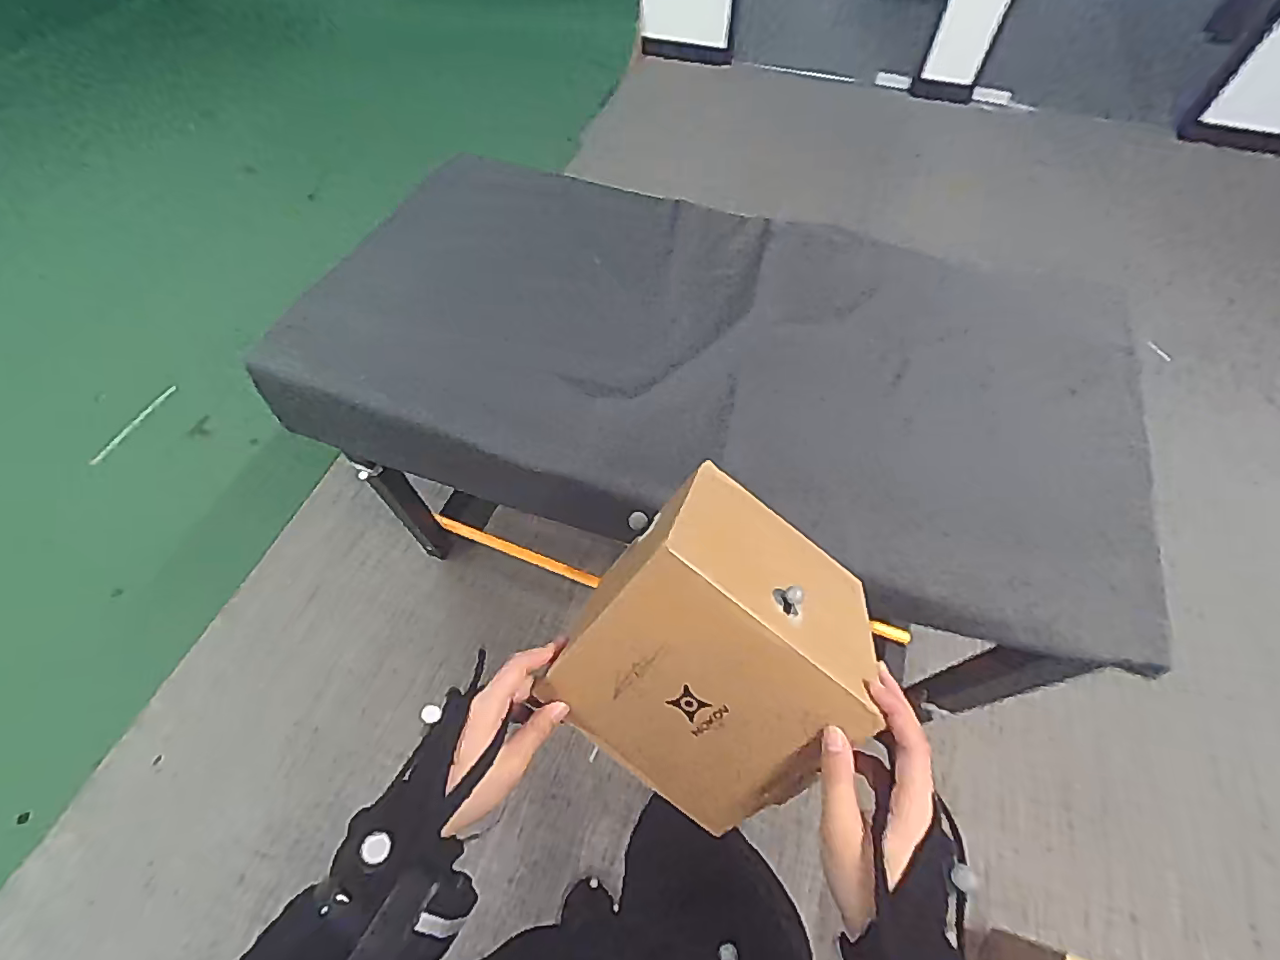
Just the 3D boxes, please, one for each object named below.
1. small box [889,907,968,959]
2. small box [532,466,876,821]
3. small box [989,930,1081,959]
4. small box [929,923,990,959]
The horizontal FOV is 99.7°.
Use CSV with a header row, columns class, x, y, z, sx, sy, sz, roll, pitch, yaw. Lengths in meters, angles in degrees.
class,x,y,z,sx,sy,sz,roll,pitch,yaw
small box,0.545,0.861,0.917,0.179,0.176,0.168,19,59,11
small box,0.053,0.114,0.433,0.179,0.168,0.176,38,24,-1
small box,0.538,0.684,0.640,0.168,0.176,0.179,18,61,11
small box,0.532,0.774,0.778,0.179,0.176,0.168,17,60,9
